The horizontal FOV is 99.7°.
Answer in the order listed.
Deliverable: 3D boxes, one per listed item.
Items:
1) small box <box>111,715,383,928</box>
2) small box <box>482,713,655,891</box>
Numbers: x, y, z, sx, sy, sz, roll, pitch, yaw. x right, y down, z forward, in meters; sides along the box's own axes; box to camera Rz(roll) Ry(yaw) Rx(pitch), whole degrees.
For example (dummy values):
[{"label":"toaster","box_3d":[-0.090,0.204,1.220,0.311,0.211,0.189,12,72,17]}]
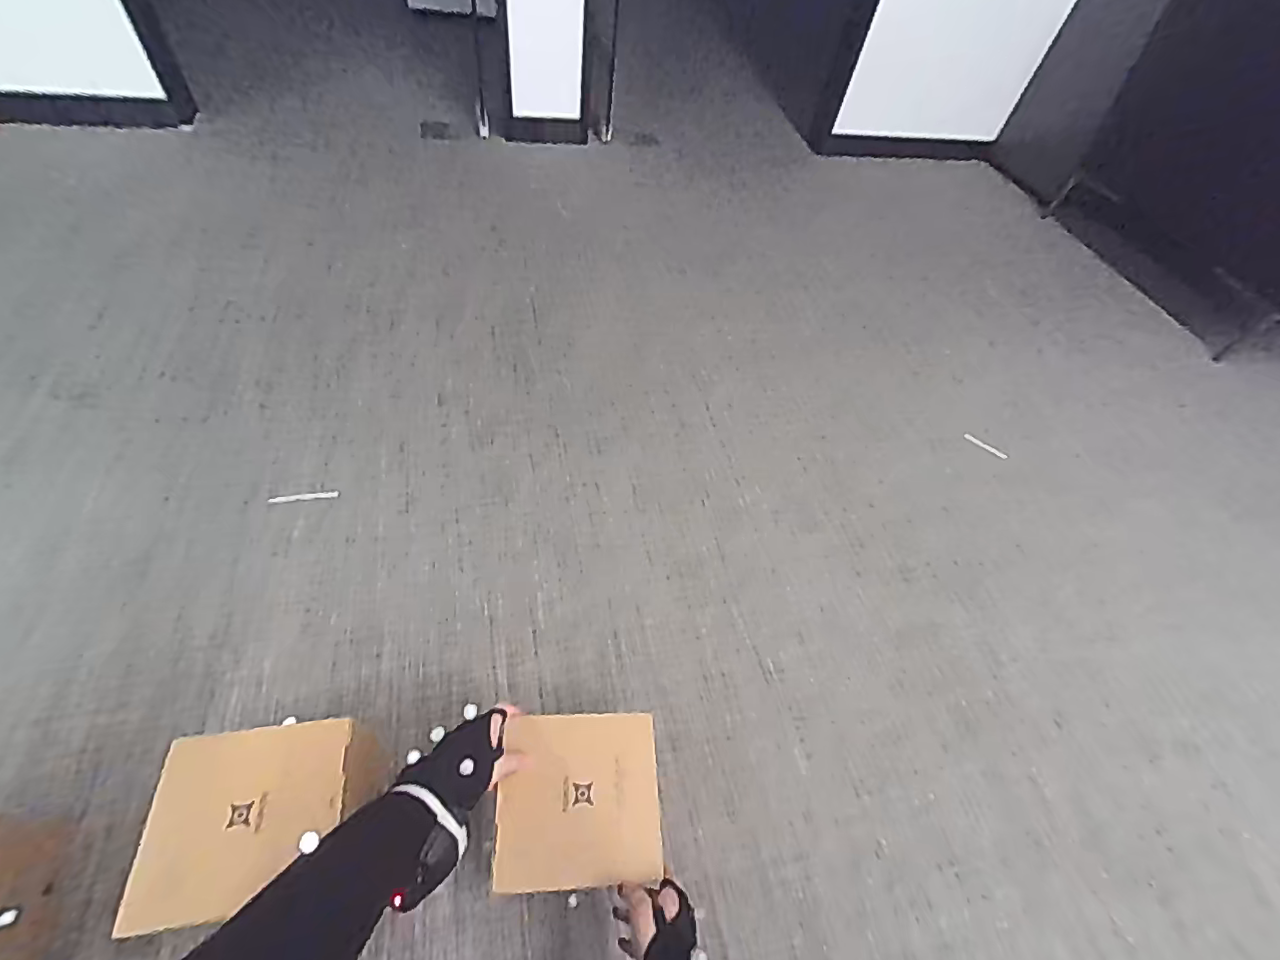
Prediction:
[{"label":"small box","box_3d":[-0.407,0.378,0.603,0.179,0.176,0.168,-2,54,-12]},{"label":"small box","box_3d":[-0.083,0.387,0.650,0.179,0.176,0.168,3,54,-8]}]
